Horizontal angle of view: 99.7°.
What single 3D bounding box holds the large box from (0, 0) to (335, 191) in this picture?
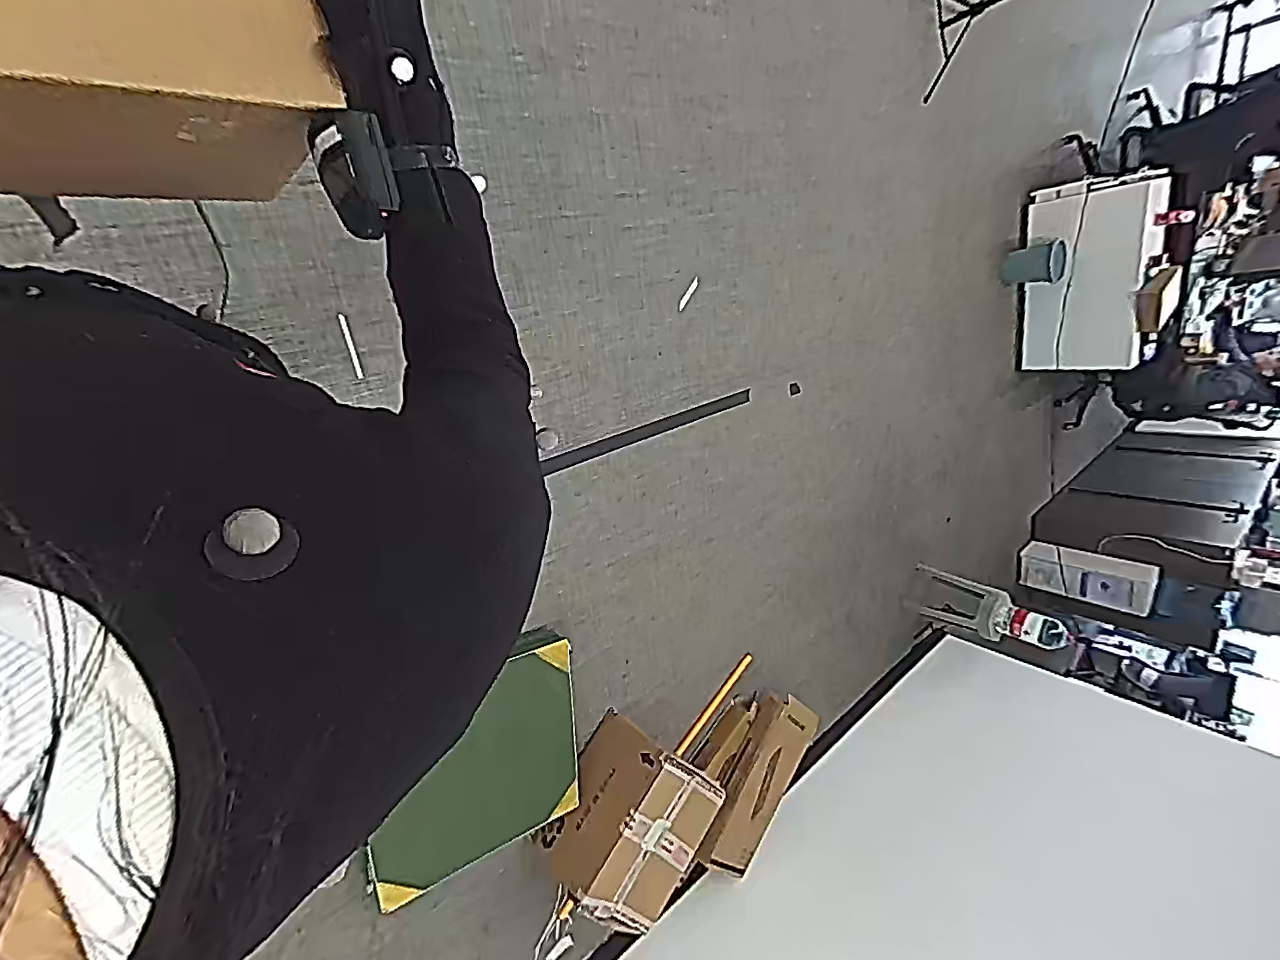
[{"bbox_3d":[-0.458,-0.355,0.290,0.408,0.320,0.320,-21,116,-37],"label":"large box"}]
